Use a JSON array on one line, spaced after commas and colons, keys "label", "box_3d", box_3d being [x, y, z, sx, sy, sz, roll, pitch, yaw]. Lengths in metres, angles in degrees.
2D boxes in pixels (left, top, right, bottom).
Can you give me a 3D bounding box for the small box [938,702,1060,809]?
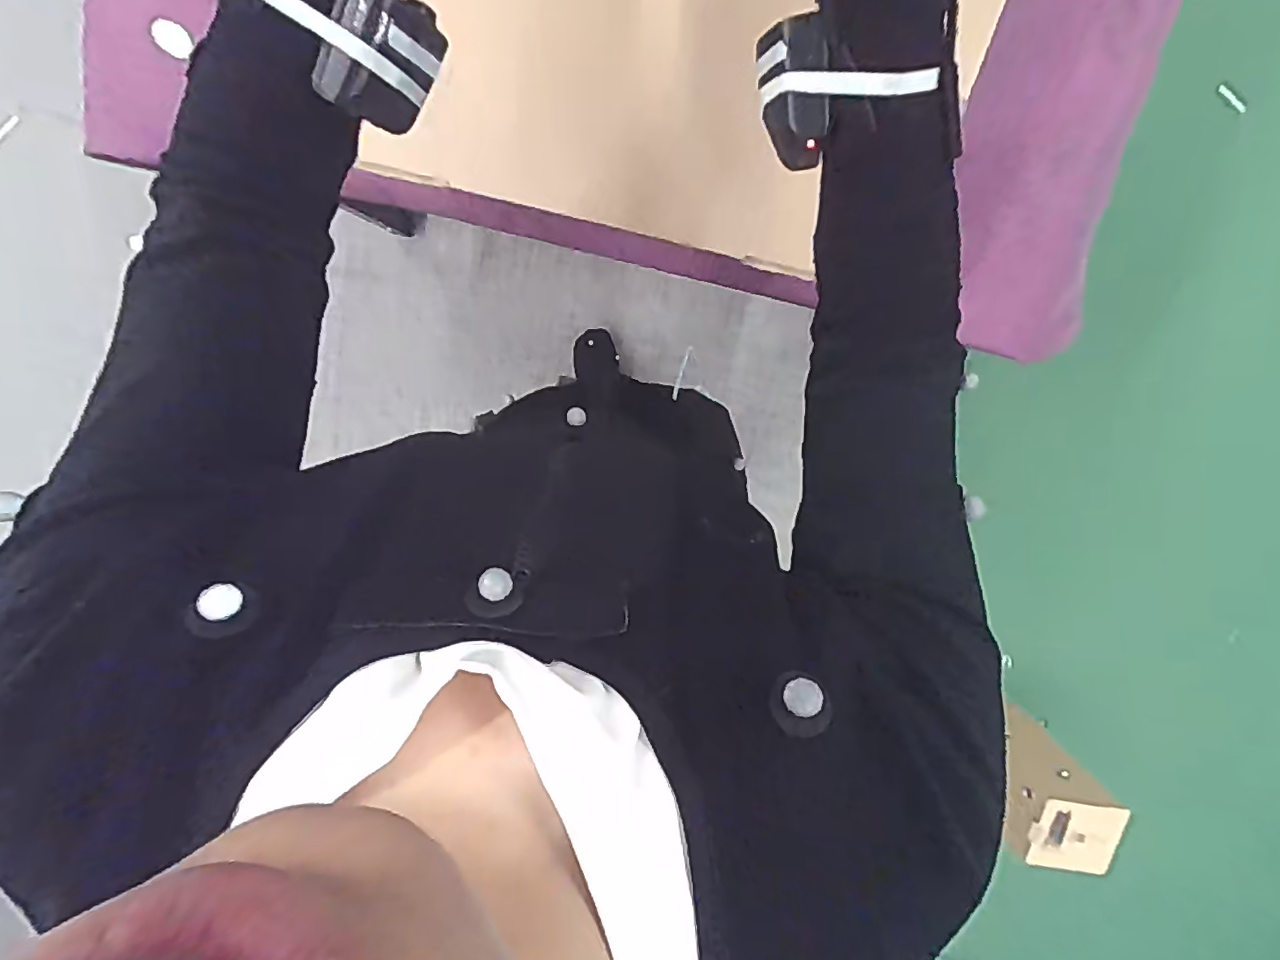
[{"label": "small box", "box_3d": [0.896, 0.688, 1.366, 0.179, 0.176, 0.168, 8, 103, 1]}]
